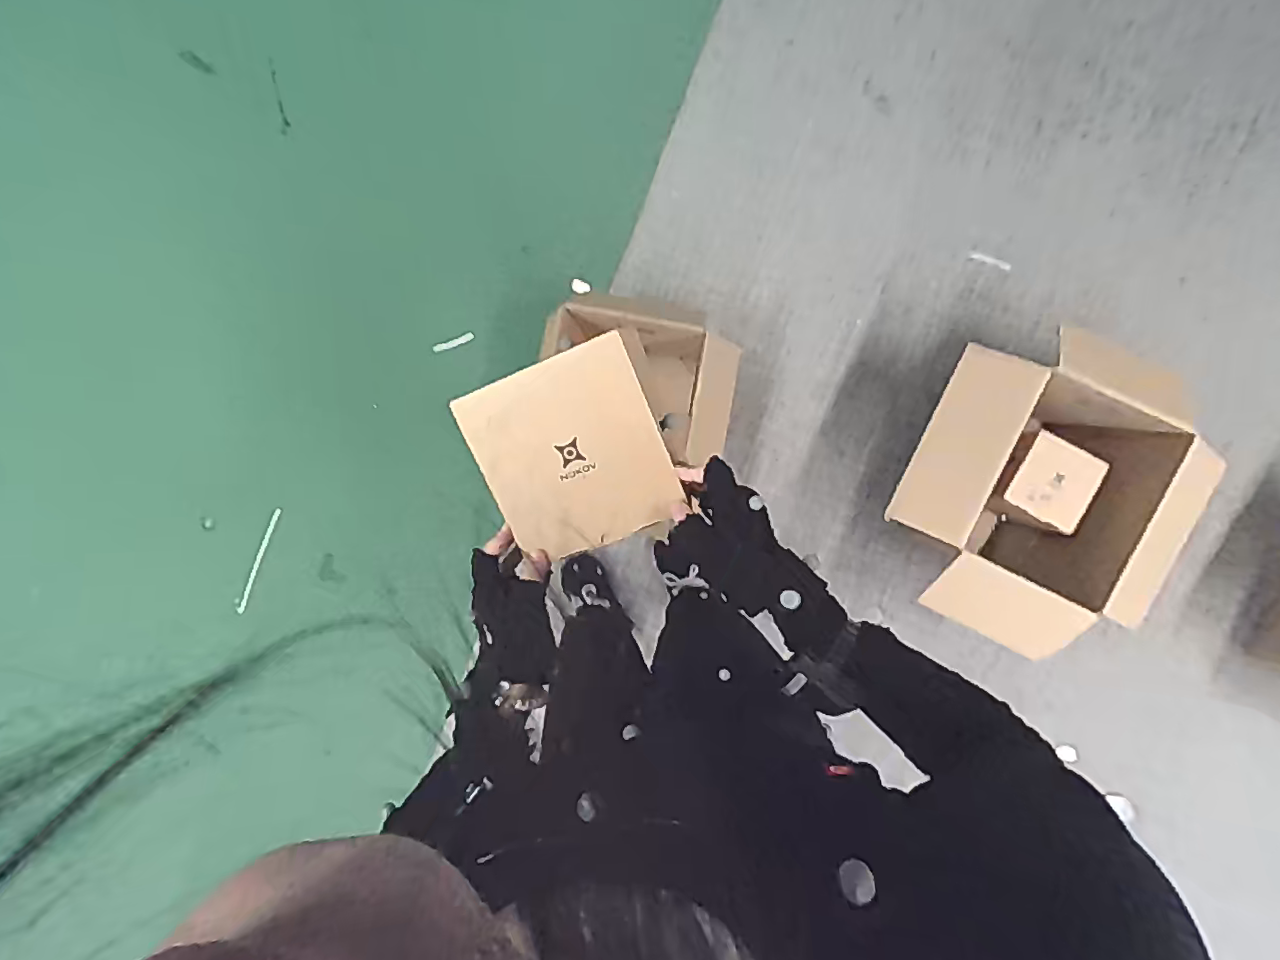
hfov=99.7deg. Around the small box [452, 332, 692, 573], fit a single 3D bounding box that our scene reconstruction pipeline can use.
[{"bbox_3d":[-0.056,-0.038,0.556,0.168,0.176,0.179,-22,104,10],"label":"small box"}]
